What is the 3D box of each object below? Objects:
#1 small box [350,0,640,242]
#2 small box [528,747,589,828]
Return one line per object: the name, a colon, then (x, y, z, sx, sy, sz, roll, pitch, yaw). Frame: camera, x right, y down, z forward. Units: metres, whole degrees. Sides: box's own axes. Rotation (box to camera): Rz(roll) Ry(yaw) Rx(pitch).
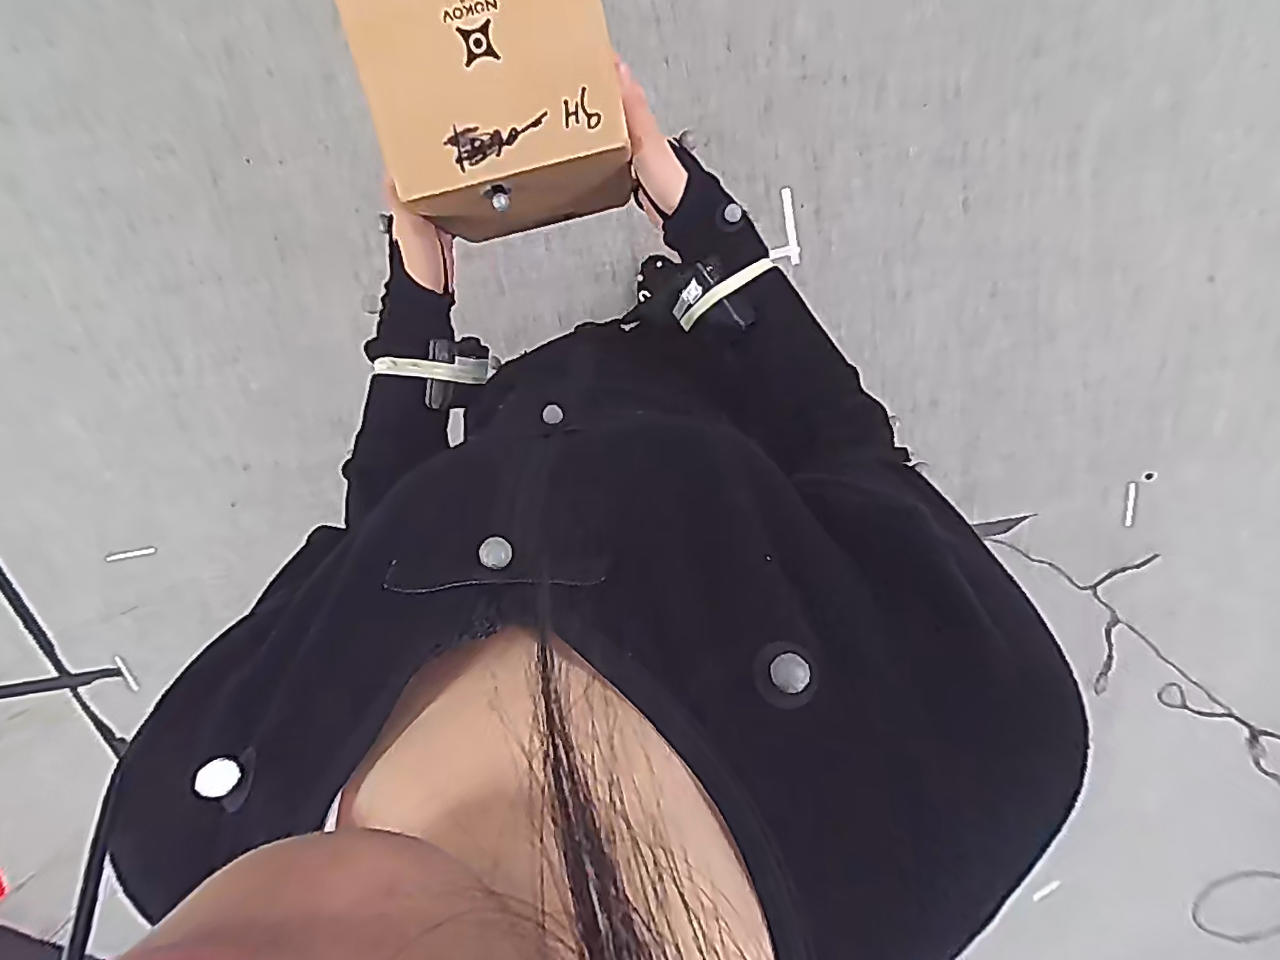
small box: (-0.100, -0.308, 0.424, 0.168, 0.176, 0.179, -13, 104, 2)
small box: (-0.267, 1.013, 1.791, 0.179, 0.176, 0.168, 5, 108, -4)
